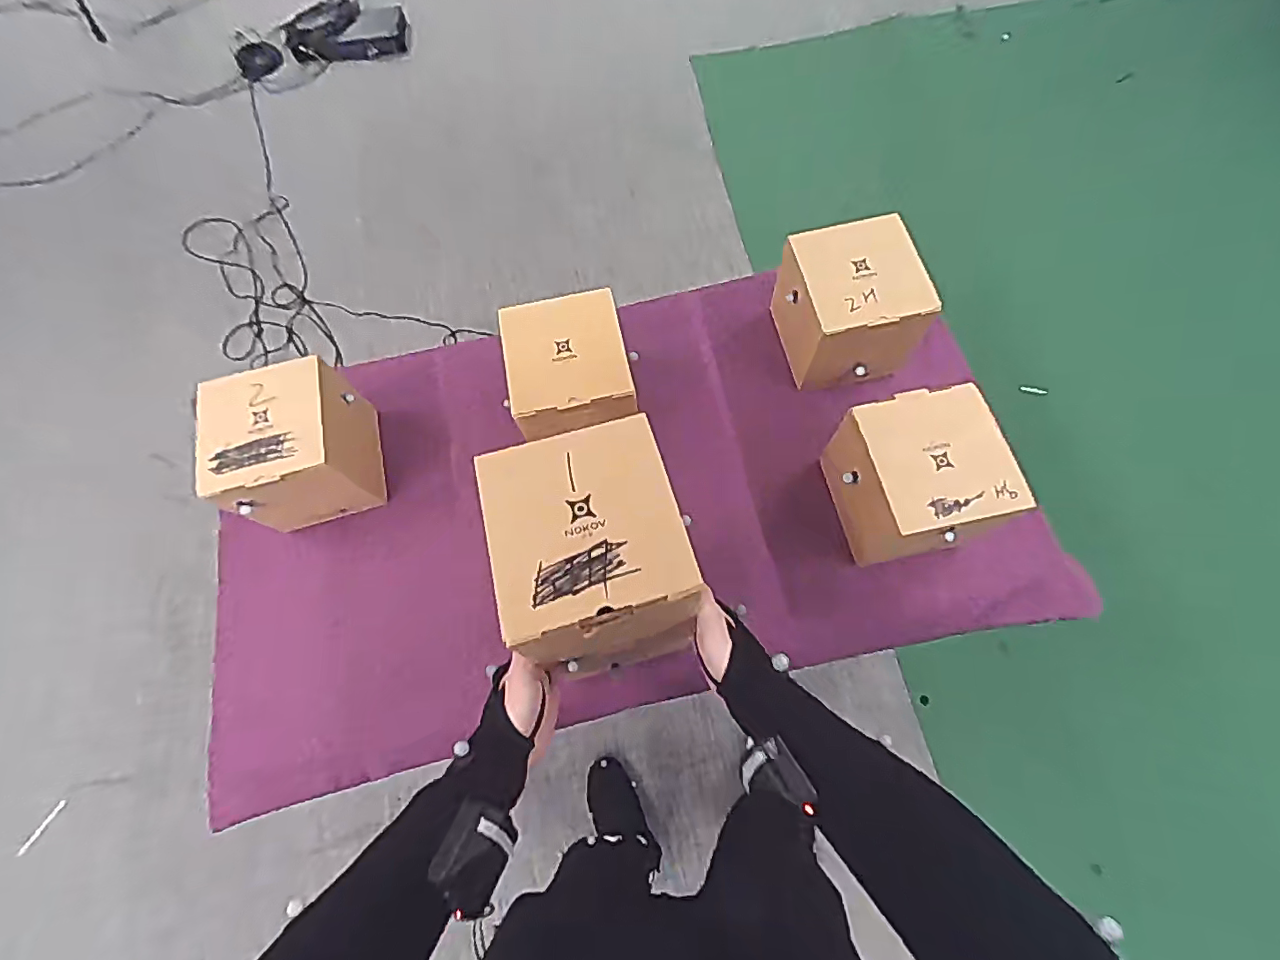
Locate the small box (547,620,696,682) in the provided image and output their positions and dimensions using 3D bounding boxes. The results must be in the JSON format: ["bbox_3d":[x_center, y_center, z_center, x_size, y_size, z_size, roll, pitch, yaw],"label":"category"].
[{"bbox_3d":[-0.037,0.138,0.676,0.168,0.176,0.179,-14,65,-5],"label":"small box"}]

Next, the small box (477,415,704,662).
[{"bbox_3d":[-0.043,0.069,0.527,0.168,0.176,0.179,-15,64,-5],"label":"small box"}]

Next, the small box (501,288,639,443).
[{"bbox_3d":[-0.098,-0.151,0.806,0.168,0.176,0.179,-12,71,-2],"label":"small box"}]

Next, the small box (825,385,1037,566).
[{"bbox_3d":[0.368,0.001,0.728,0.168,0.176,0.179,-11,68,-1],"label":"small box"}]

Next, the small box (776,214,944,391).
[{"bbox_3d":[0.317,-0.262,0.824,0.168,0.176,0.179,-12,70,1],"label":"small box"}]
